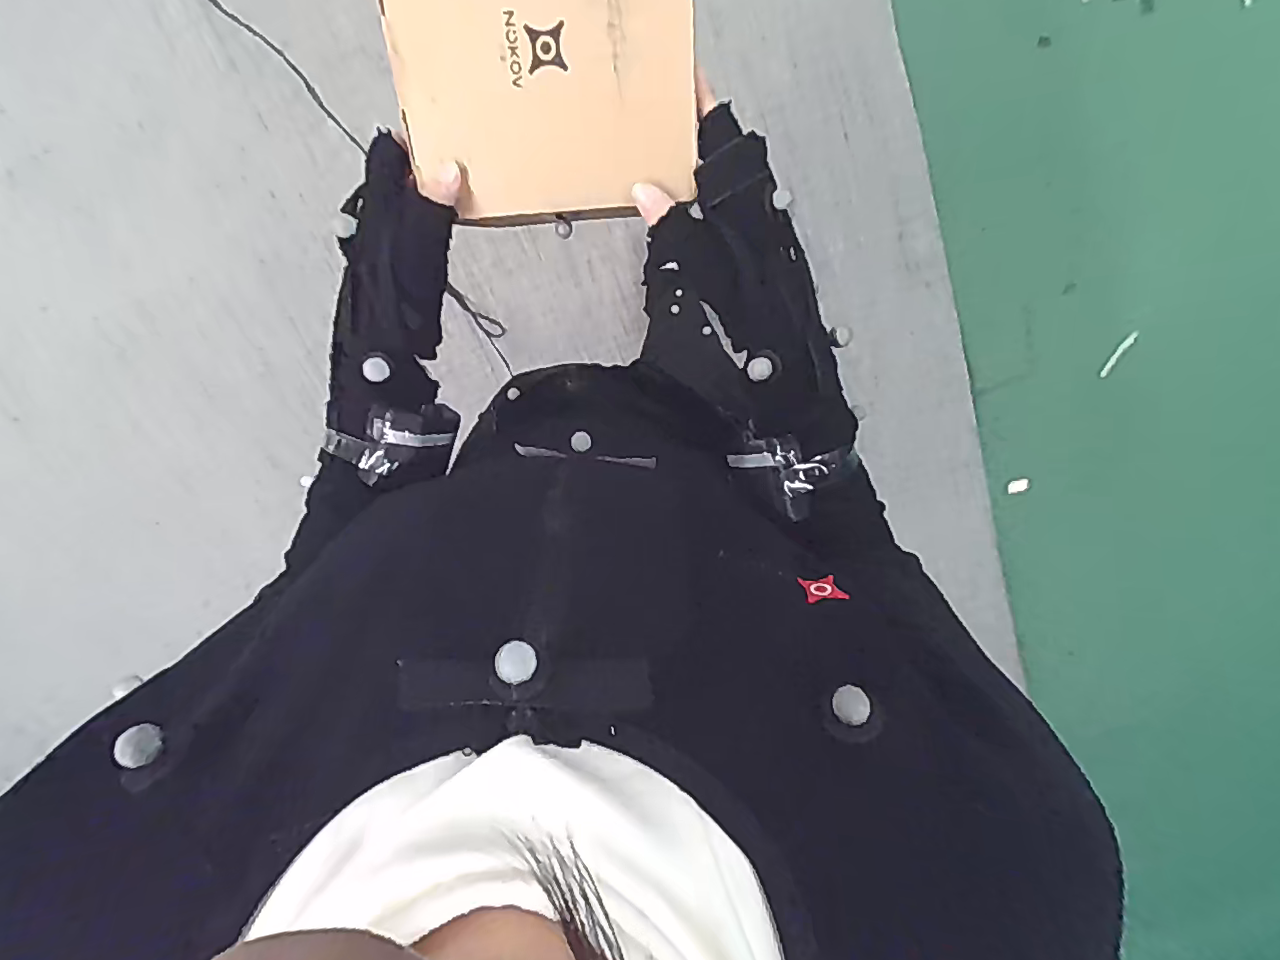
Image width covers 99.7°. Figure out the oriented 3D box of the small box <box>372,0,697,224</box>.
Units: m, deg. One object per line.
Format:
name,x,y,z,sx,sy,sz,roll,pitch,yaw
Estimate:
small box,-0.054,-0.276,0.374,0.179,0.176,0.168,-4,114,3
